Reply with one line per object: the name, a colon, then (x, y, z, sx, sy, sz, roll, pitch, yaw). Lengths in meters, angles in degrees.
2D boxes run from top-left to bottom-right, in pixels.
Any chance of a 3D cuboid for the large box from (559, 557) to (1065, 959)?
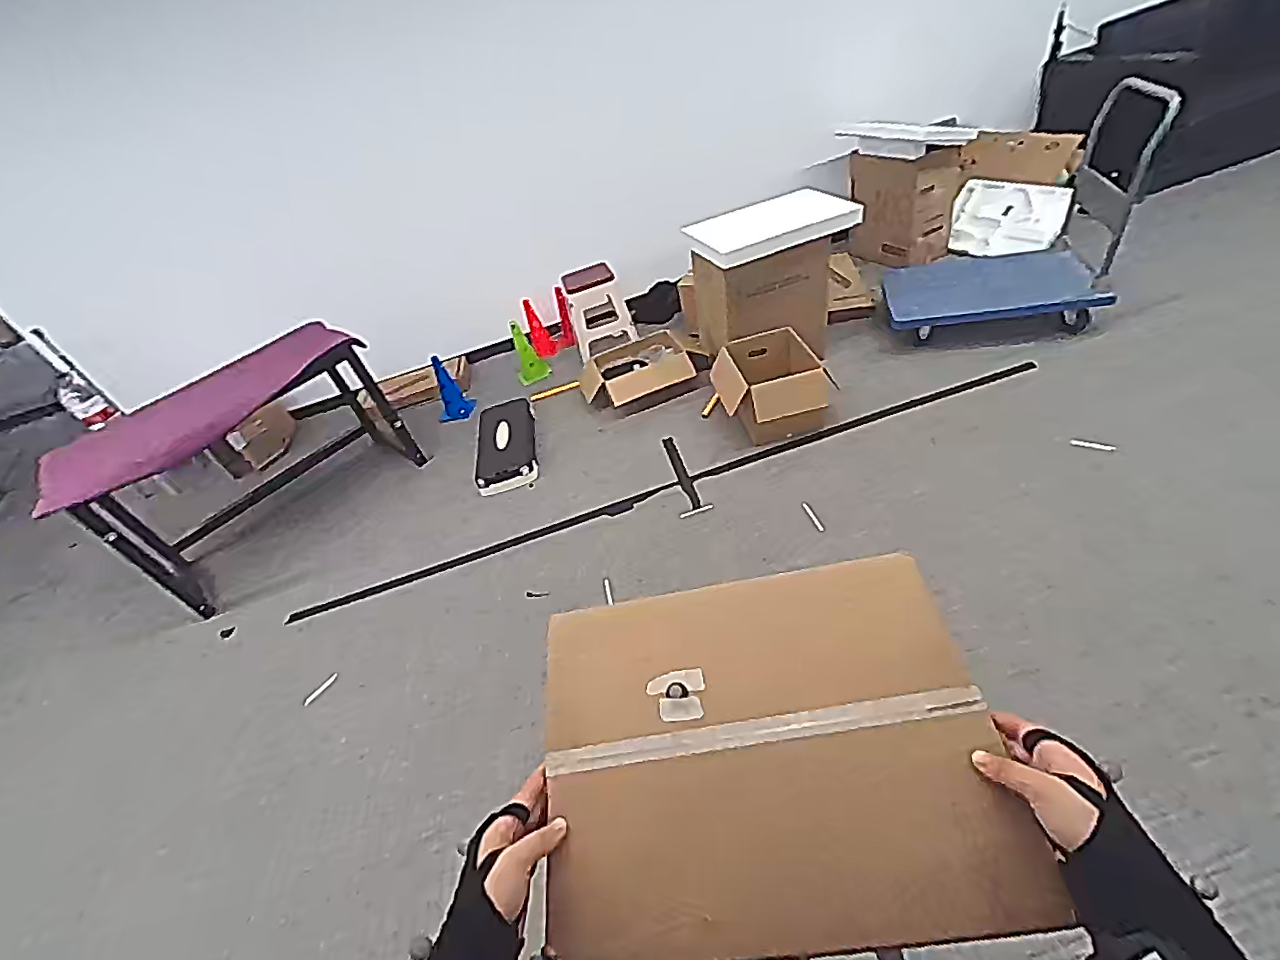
large box: (0.147, 0.331, 0.630, 0.408, 0.320, 0.320, -12, 50, 6)
